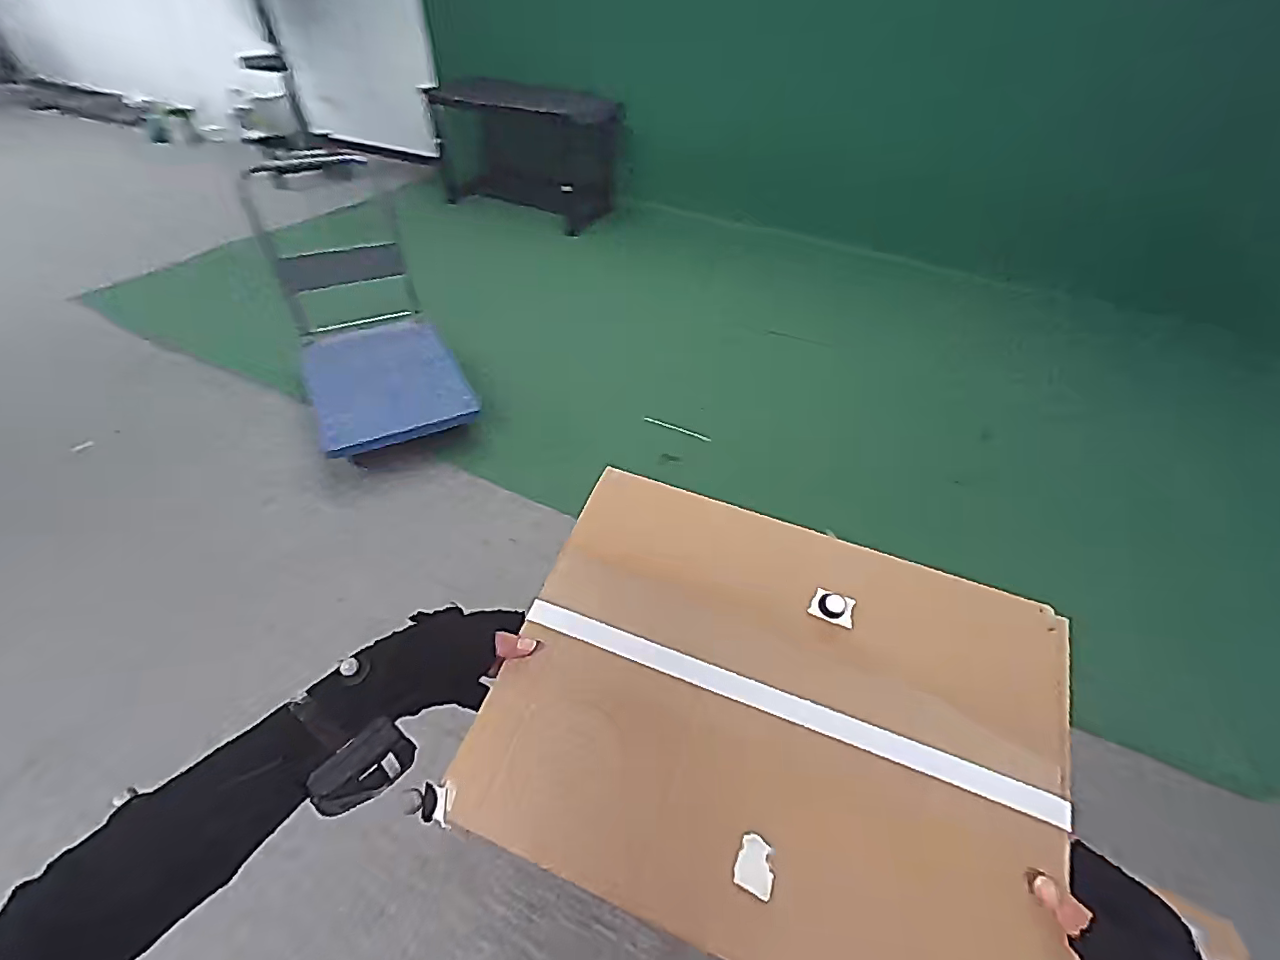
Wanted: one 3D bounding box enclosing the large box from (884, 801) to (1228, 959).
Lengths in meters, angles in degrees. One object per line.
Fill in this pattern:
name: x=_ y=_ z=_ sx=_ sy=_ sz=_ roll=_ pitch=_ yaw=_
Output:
large box: x=0.512 y=0.746 z=0.709 sx=0.320 sy=0.320 sz=0.408 roll=21 pitch=46 yaw=21
